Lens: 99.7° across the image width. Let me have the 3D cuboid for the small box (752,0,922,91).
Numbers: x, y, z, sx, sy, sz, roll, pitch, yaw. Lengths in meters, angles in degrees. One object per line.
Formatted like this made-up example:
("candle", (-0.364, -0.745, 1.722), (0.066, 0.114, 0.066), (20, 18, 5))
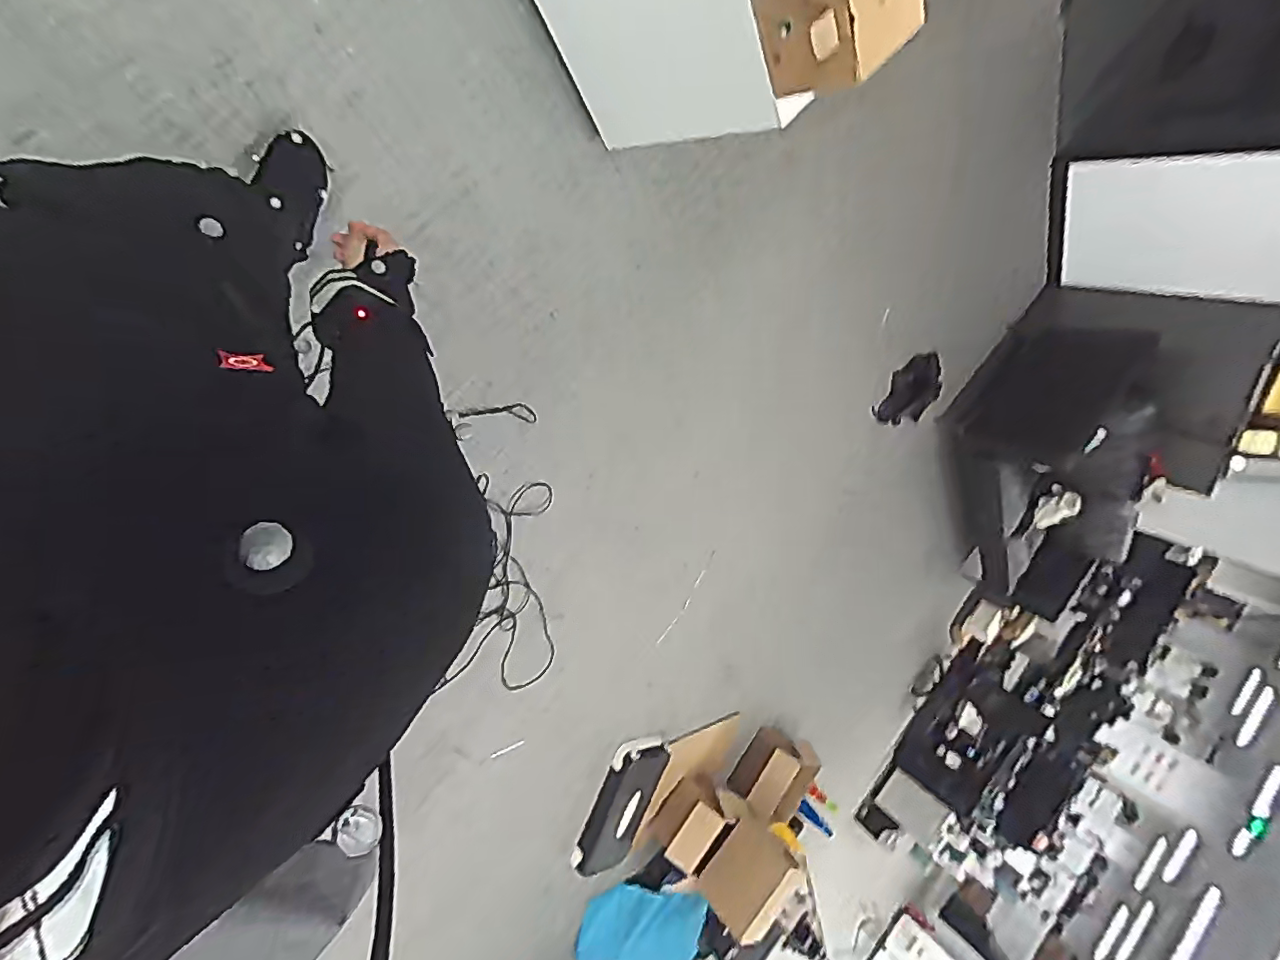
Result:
("small box", (0.300, -0.737, 0.827), (0.179, 0.176, 0.168), (-48, 134, -11))
